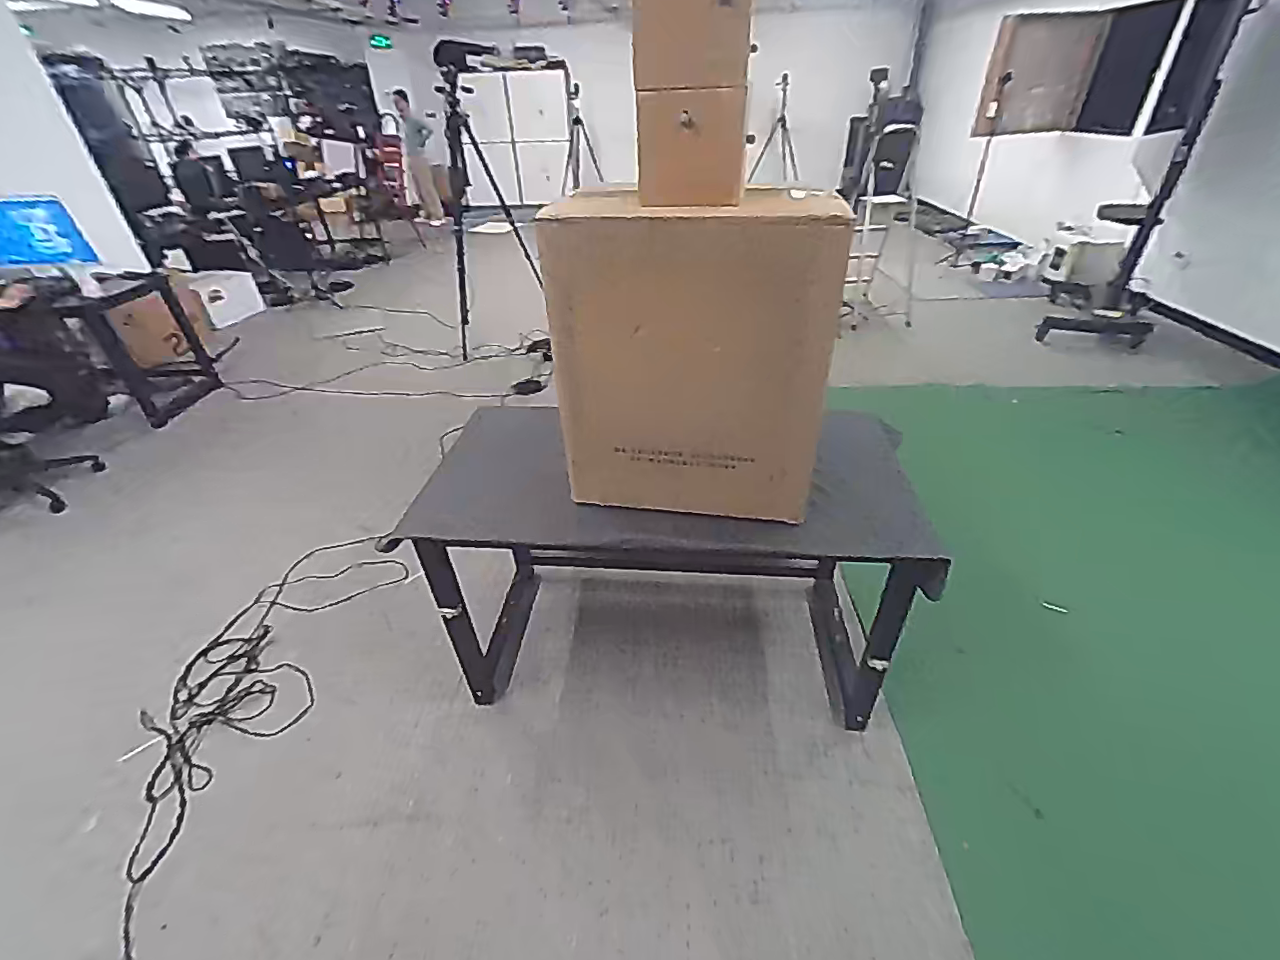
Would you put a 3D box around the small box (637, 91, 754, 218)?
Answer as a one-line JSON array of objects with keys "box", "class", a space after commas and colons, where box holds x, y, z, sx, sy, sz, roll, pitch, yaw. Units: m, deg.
[{"box": [0.098, -0.561, 0.934, 0.179, 0.176, 0.168, 5, 38, 11], "class": "small box"}]
